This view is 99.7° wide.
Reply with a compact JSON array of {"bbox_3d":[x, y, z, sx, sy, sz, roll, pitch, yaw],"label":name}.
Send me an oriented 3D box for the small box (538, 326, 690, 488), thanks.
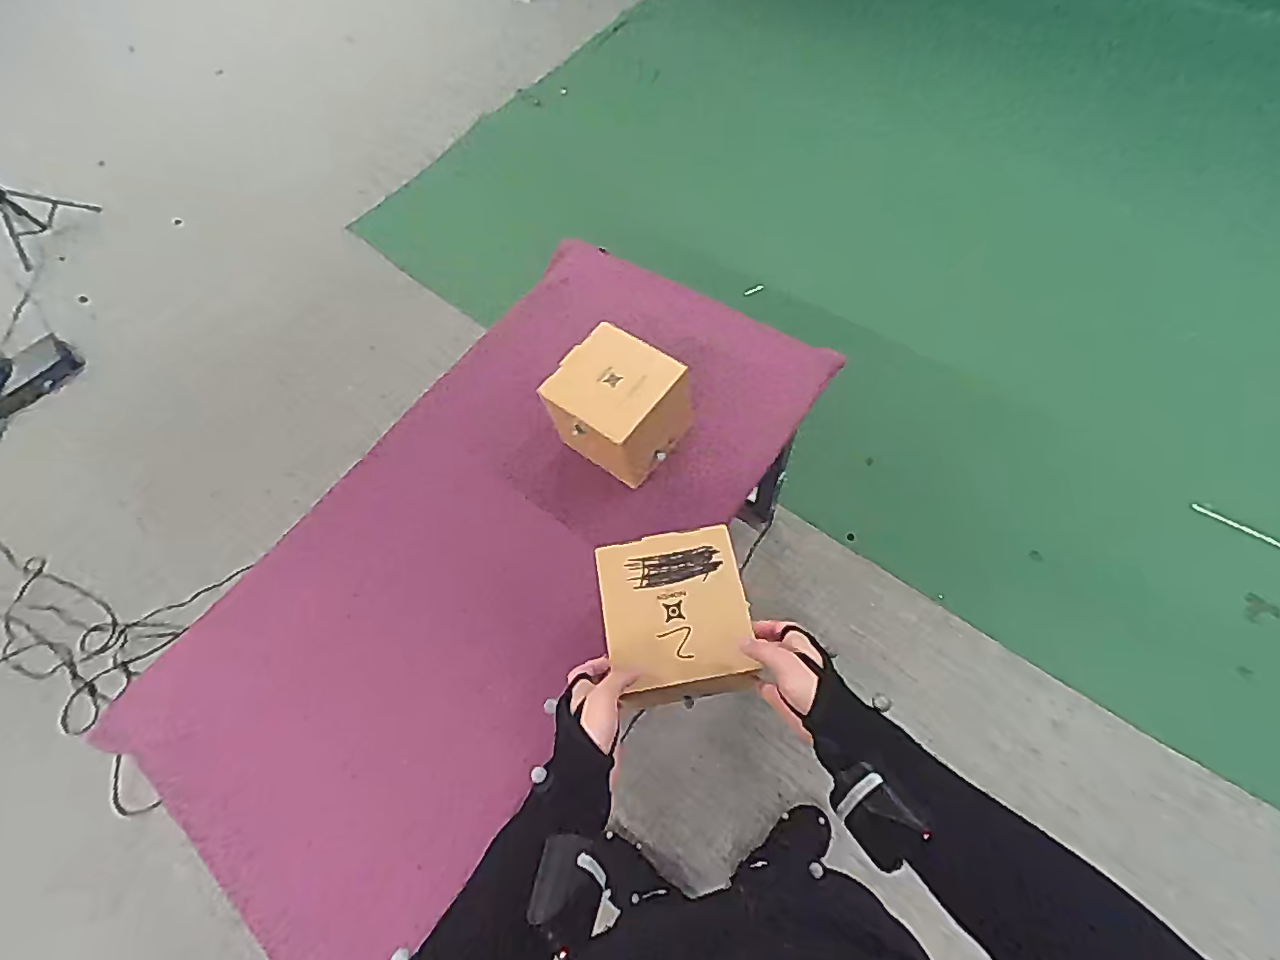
[{"bbox_3d":[-0.034,-0.115,0.902,0.179,0.176,0.168,35,75,22],"label":"small box"}]
